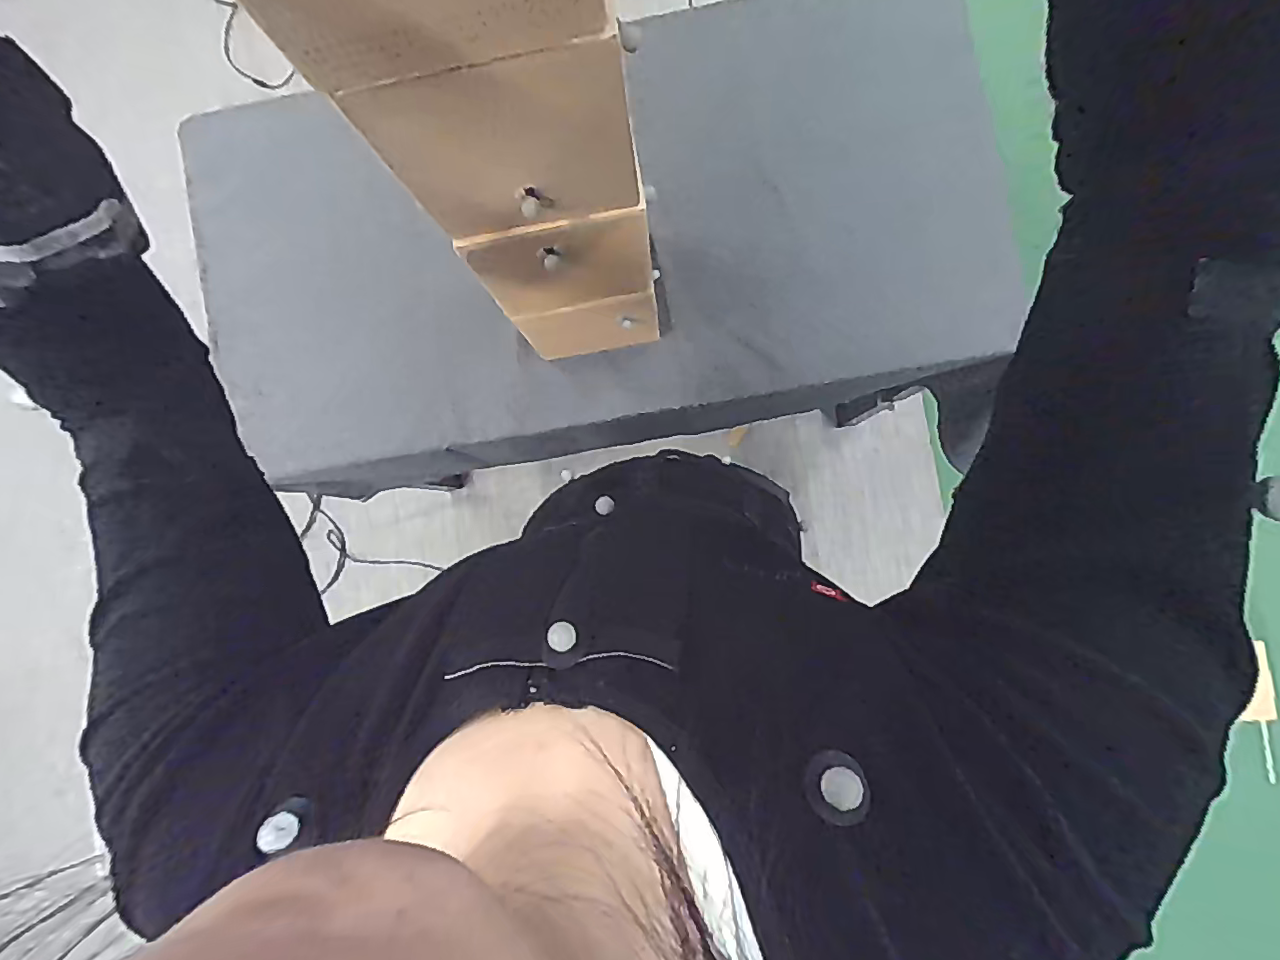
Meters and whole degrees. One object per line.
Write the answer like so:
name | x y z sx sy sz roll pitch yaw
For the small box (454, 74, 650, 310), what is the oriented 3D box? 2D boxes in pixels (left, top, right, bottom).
small box | -0.086 -0.297 0.561 0.179 0.176 0.168 -10 85 4

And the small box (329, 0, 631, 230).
small box | -0.102 -0.313 0.399 0.179 0.176 0.168 -8 86 3

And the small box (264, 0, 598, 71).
small box | -0.119 -0.326 0.235 0.179 0.176 0.168 -10 86 4
